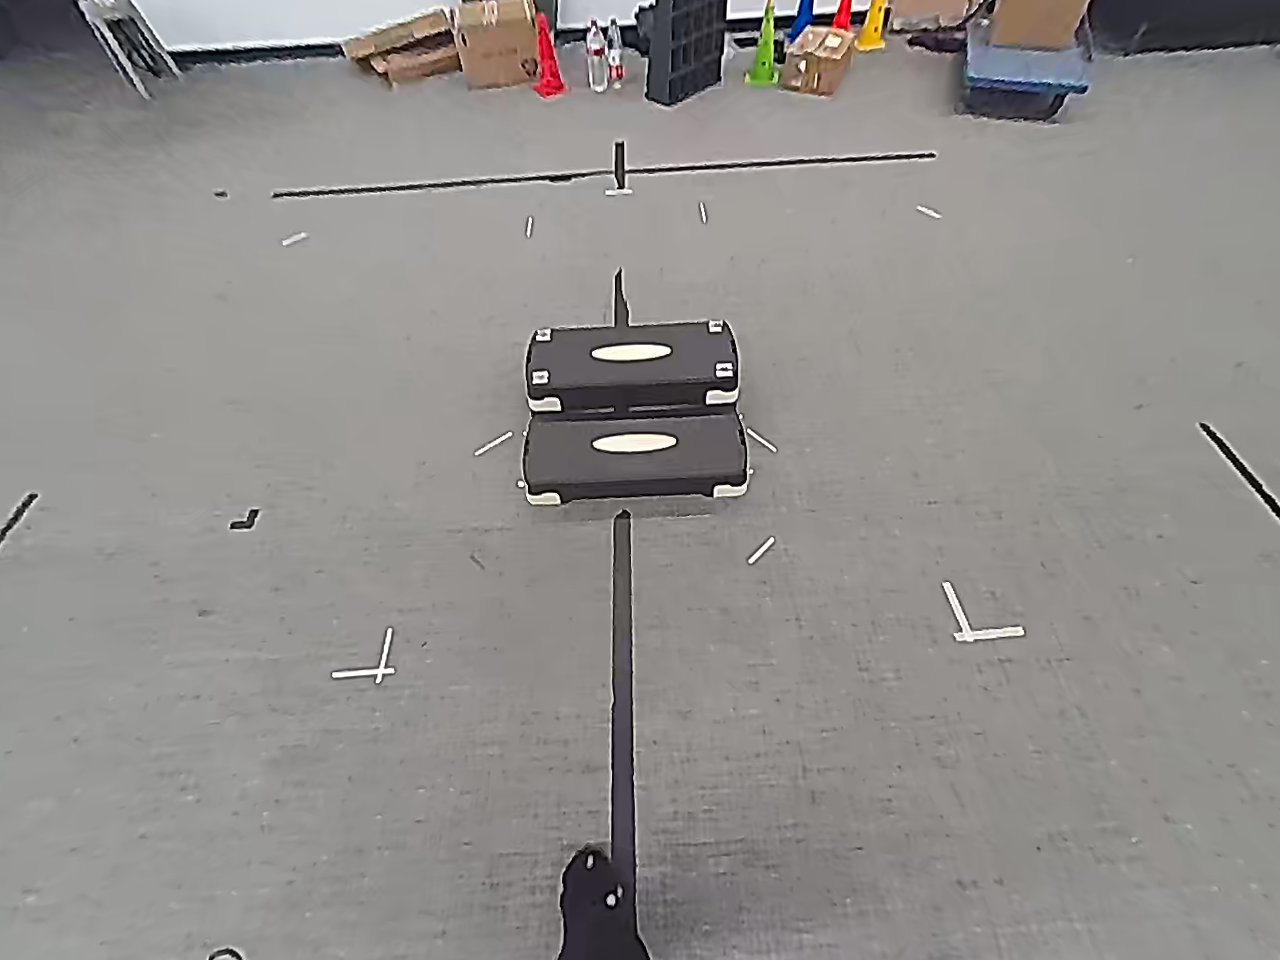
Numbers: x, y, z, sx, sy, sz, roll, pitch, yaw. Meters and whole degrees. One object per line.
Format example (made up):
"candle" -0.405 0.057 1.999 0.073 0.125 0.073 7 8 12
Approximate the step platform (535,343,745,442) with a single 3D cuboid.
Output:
"step platform" 0.001 -0.295 1.787 0.684 0.204 0.286 1 54 3
